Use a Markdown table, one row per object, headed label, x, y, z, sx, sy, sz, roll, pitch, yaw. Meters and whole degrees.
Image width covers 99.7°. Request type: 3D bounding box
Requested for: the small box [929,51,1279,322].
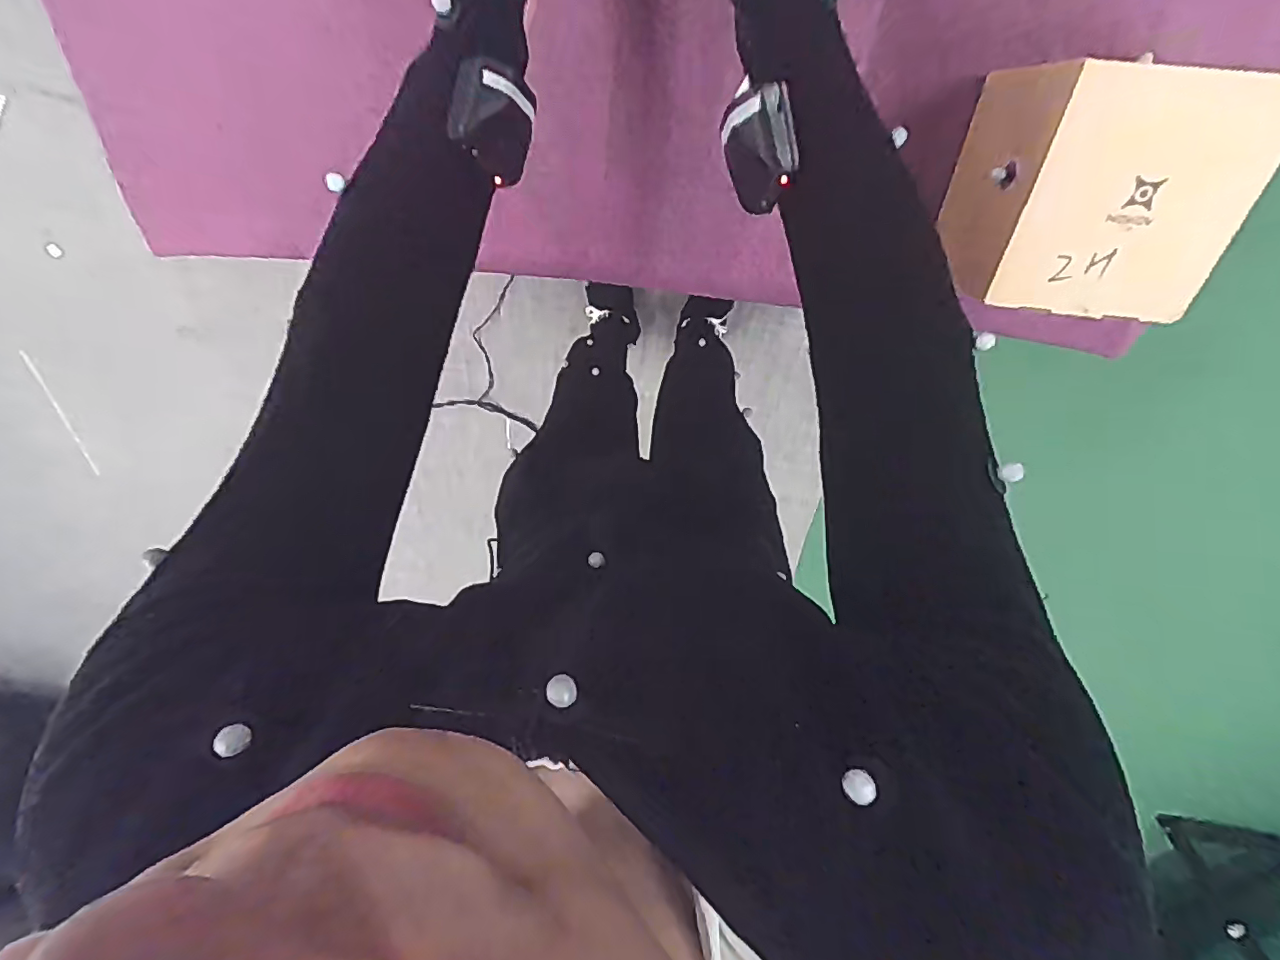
| label | x | y | z | sx | sy | sz | roll | pitch | yaw |
| --- | --- | --- | --- | --- | --- | --- | --- | --- | --- |
| small box | 0.395 | -0.264 | 0.492 | 0.168 | 0.176 | 0.179 | 8 | 125 | 3 |
